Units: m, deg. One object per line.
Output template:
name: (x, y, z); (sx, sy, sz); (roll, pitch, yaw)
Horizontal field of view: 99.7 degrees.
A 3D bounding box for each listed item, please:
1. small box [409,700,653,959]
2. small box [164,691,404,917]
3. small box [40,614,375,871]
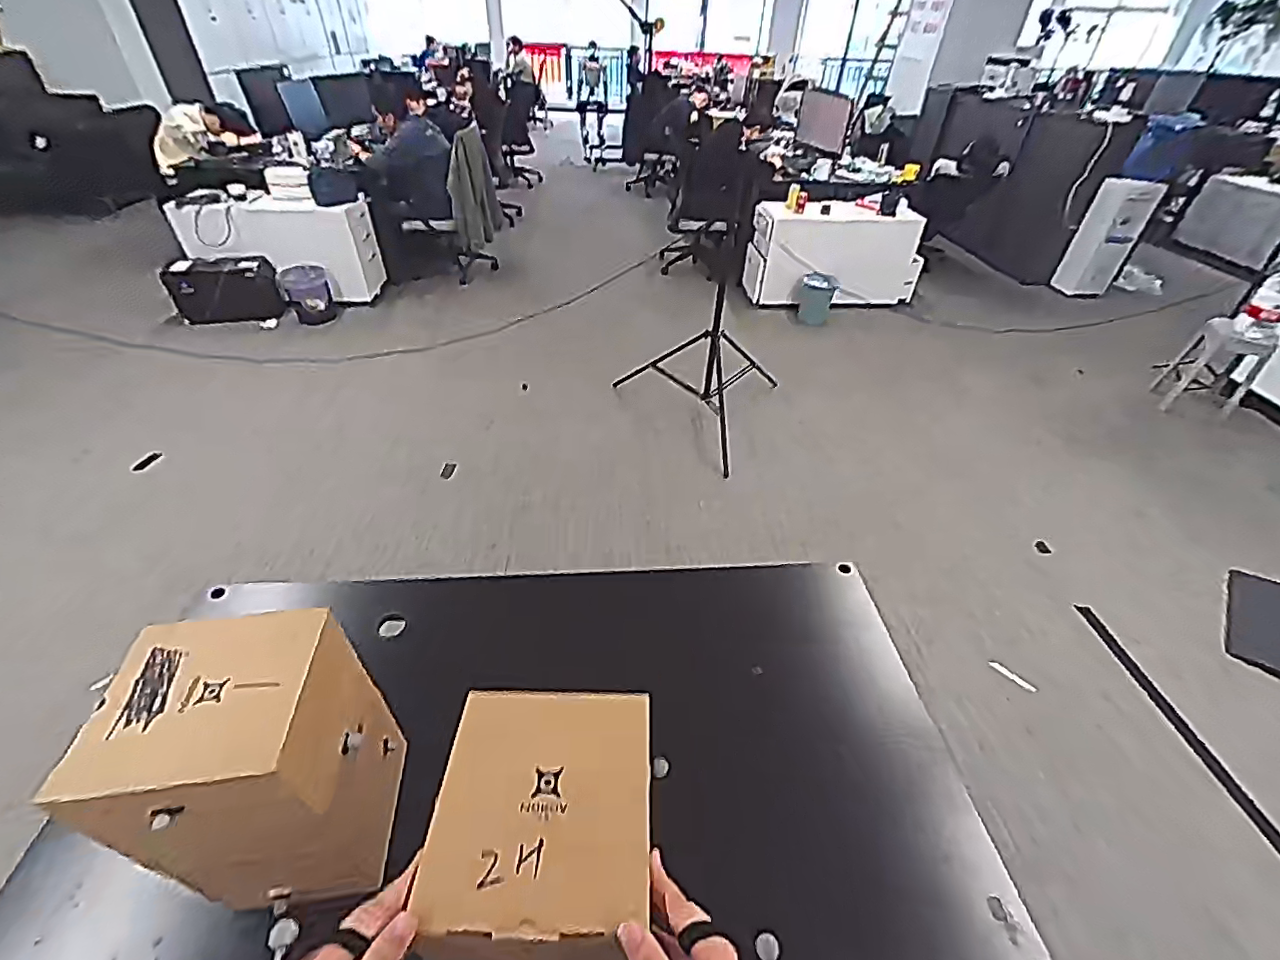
small box: (-0.074, 0.318, 0.469); (0.168, 0.176, 0.179); (0, 34, 0)
small box: (-0.395, 0.382, 0.645); (0.168, 0.176, 0.179); (-5, 41, -7)
small box: (-0.392, 0.258, 0.537); (0.179, 0.176, 0.168); (-4, 40, -8)
